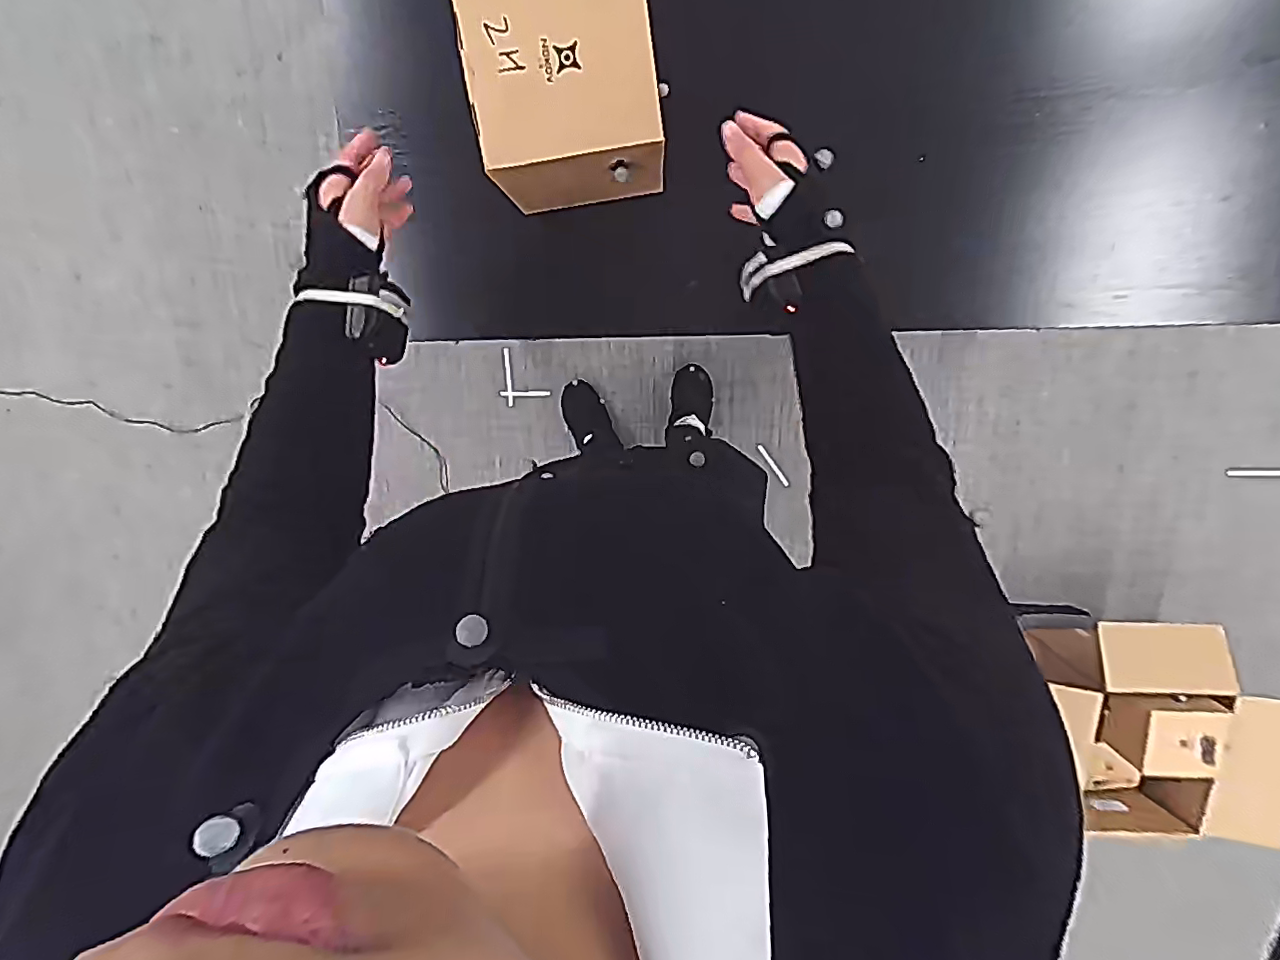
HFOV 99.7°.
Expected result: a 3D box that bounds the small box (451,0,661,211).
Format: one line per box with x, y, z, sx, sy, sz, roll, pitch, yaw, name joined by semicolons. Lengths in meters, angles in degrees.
-0.075;-0.404;0.577;0.179;0.176;0.168;-7;103;4;small box
